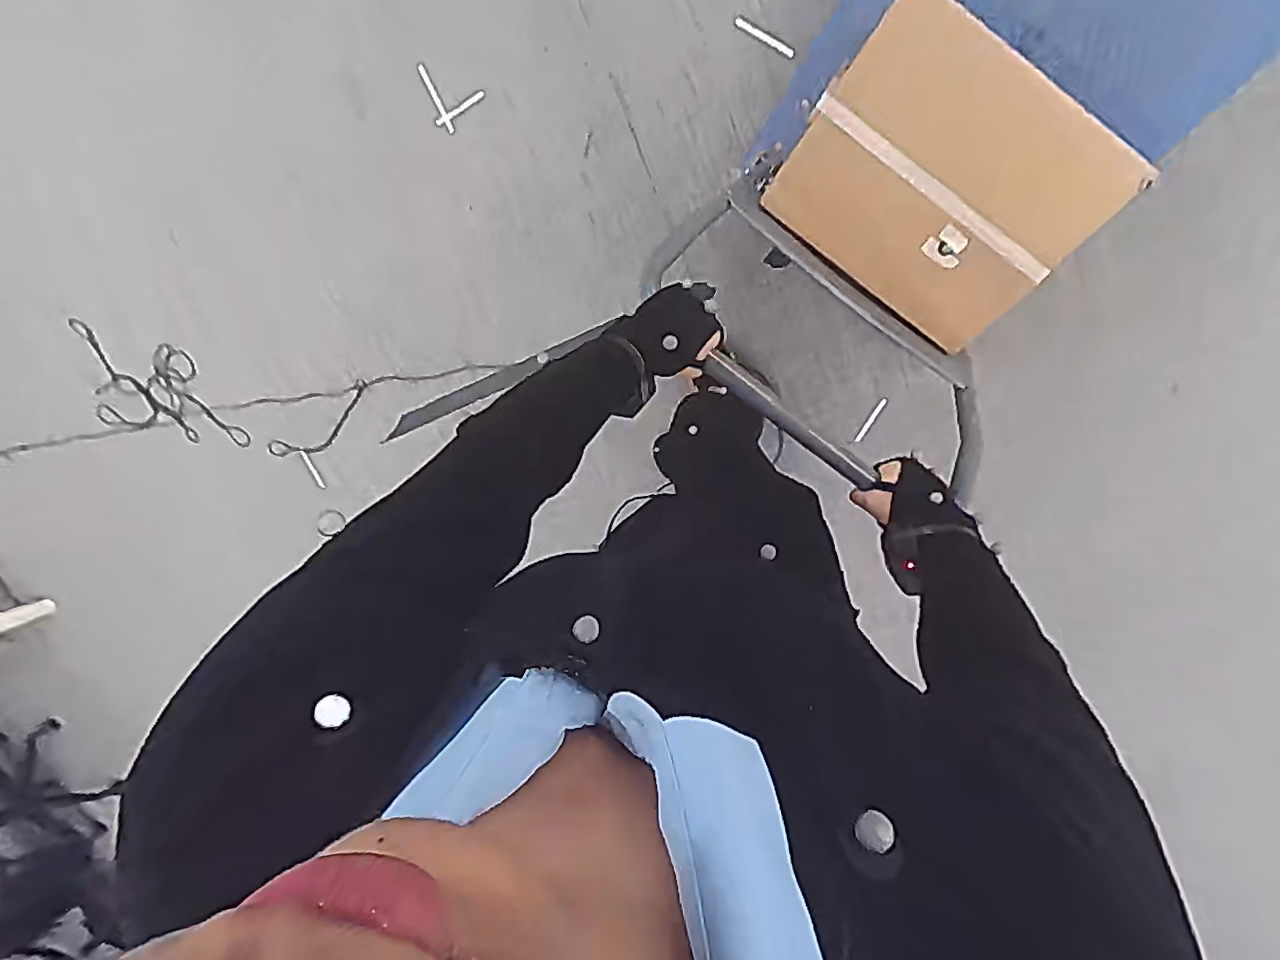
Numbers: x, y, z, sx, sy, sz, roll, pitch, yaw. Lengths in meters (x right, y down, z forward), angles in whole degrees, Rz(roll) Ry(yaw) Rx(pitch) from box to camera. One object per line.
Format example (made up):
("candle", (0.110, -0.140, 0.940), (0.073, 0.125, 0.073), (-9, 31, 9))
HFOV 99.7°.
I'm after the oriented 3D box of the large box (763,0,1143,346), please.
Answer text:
("large box", (0.475, -0.506, 0.906), (0.408, 0.320, 0.320), (36, 130, -4))
